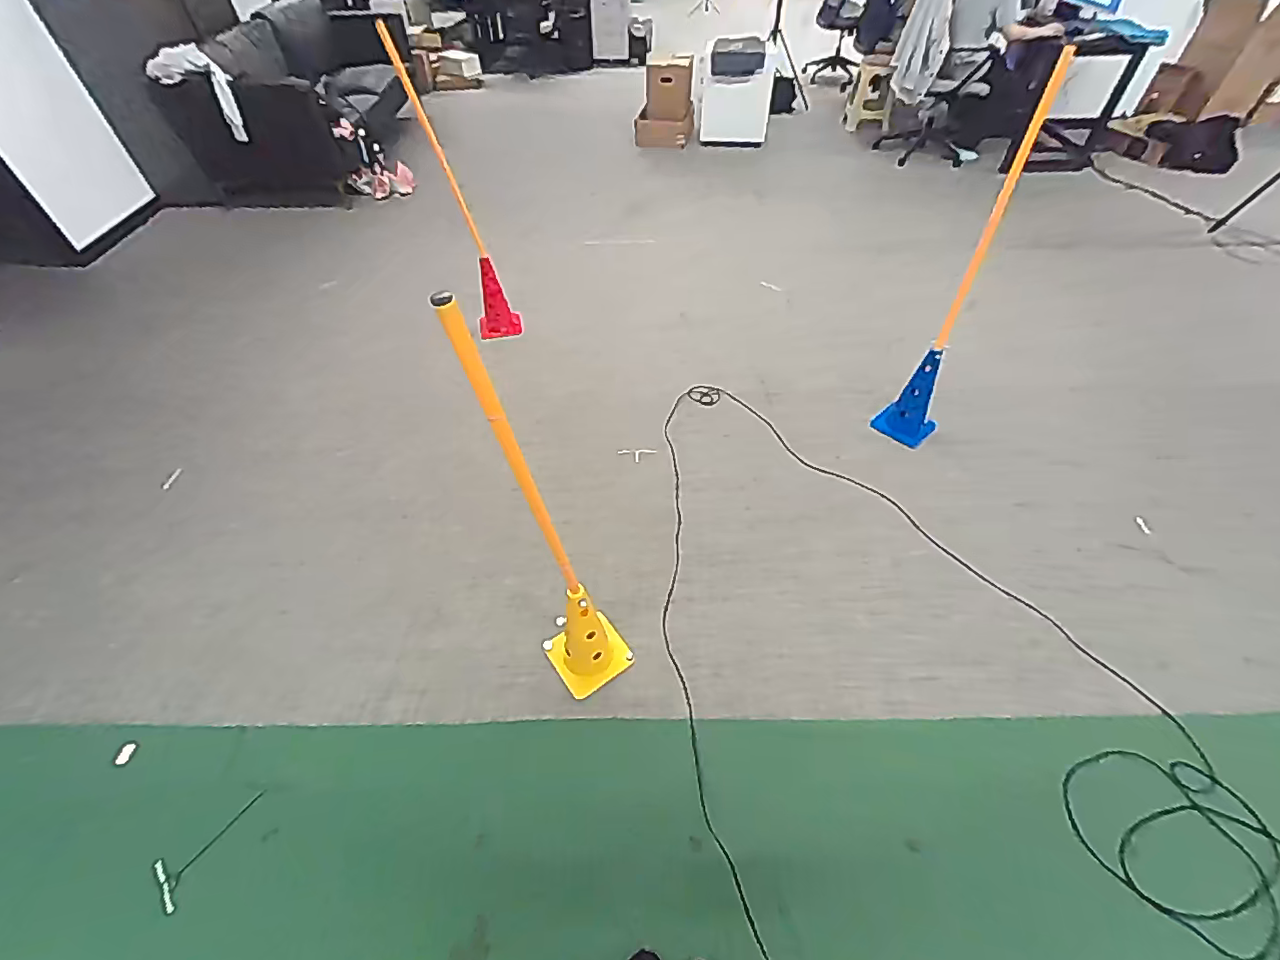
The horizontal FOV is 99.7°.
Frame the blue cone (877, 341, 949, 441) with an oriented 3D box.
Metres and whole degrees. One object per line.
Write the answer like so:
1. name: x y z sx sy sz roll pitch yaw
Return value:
1. blue cone: 1.046 -0.348 2.012 0.192 0.380 0.193 36 57 29
